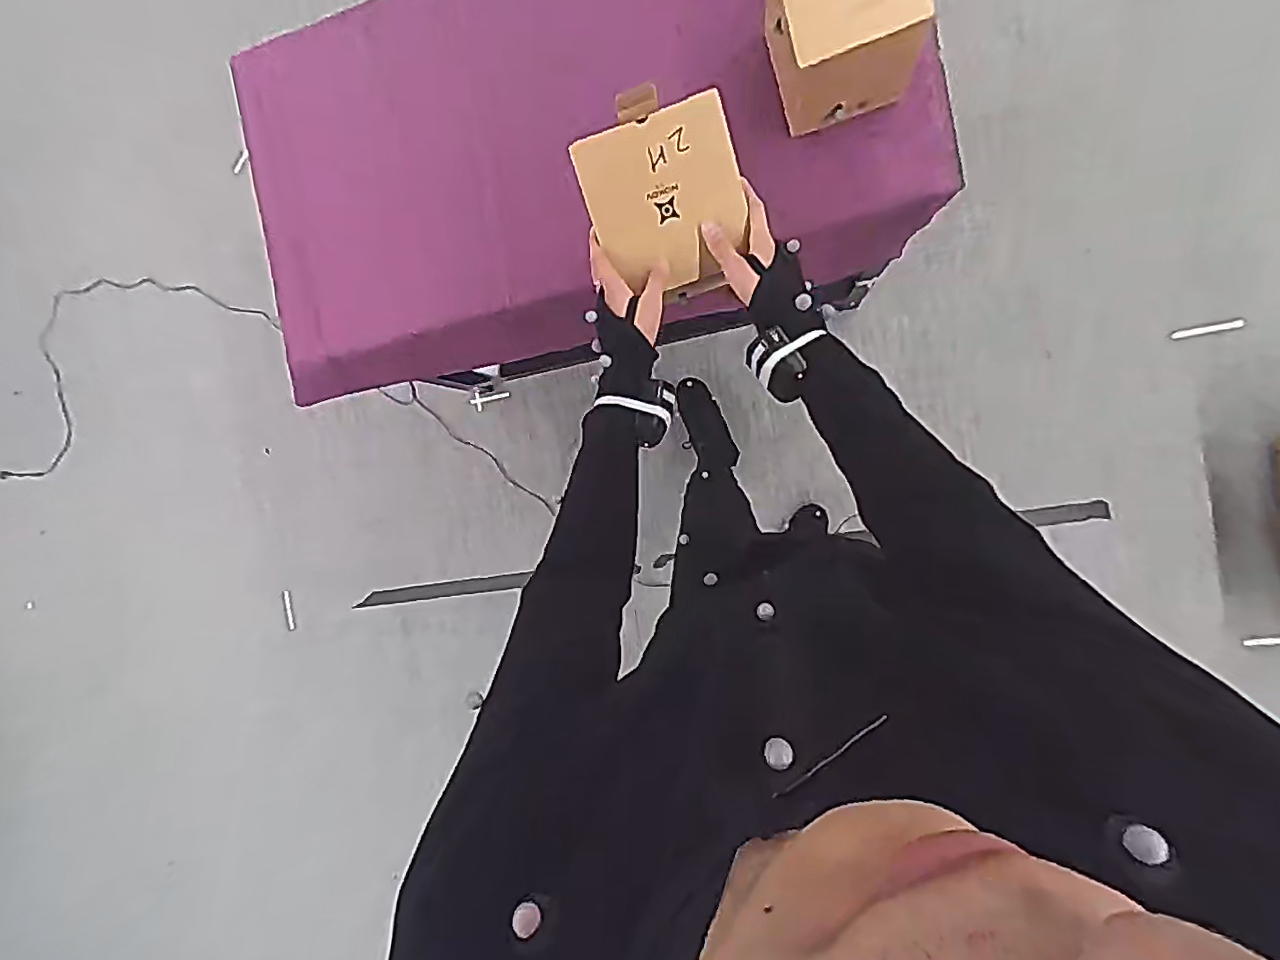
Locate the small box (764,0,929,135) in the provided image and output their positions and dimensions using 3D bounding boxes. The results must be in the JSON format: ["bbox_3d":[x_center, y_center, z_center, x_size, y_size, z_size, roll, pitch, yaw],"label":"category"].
[{"bbox_3d":[0.271,-0.633,0.751,0.168,0.176,0.179,-14,89,13],"label":"small box"}]

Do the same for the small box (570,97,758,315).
[{"bbox_3d":[0.031,-0.311,0.660,0.168,0.176,0.179,-18,101,5],"label":"small box"}]
